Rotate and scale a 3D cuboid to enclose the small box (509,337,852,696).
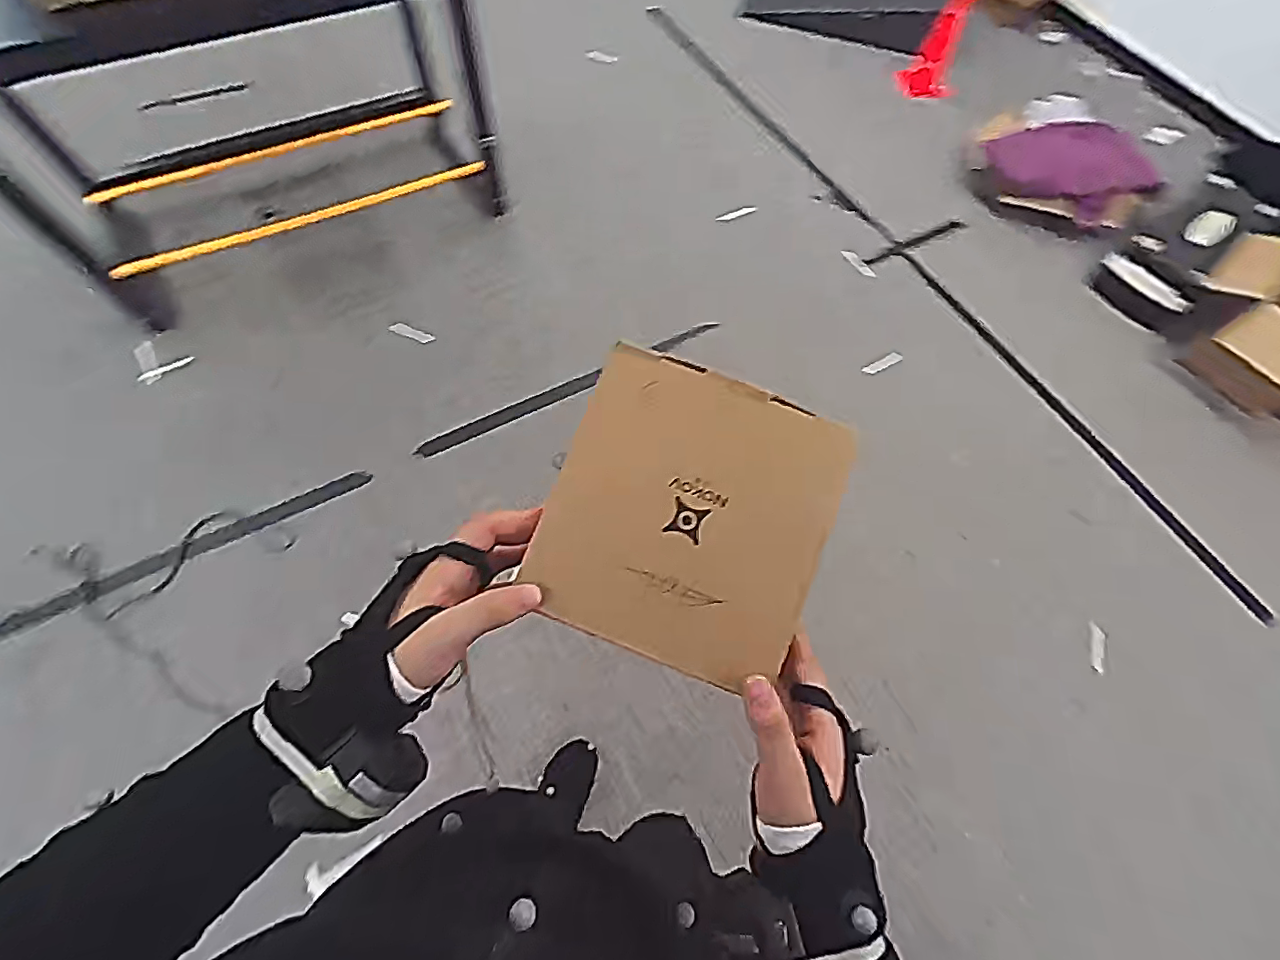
[{"bbox_3d":[0.025,0.027,0.406,0.168,0.176,0.179,21,84,2],"label":"small box"}]
